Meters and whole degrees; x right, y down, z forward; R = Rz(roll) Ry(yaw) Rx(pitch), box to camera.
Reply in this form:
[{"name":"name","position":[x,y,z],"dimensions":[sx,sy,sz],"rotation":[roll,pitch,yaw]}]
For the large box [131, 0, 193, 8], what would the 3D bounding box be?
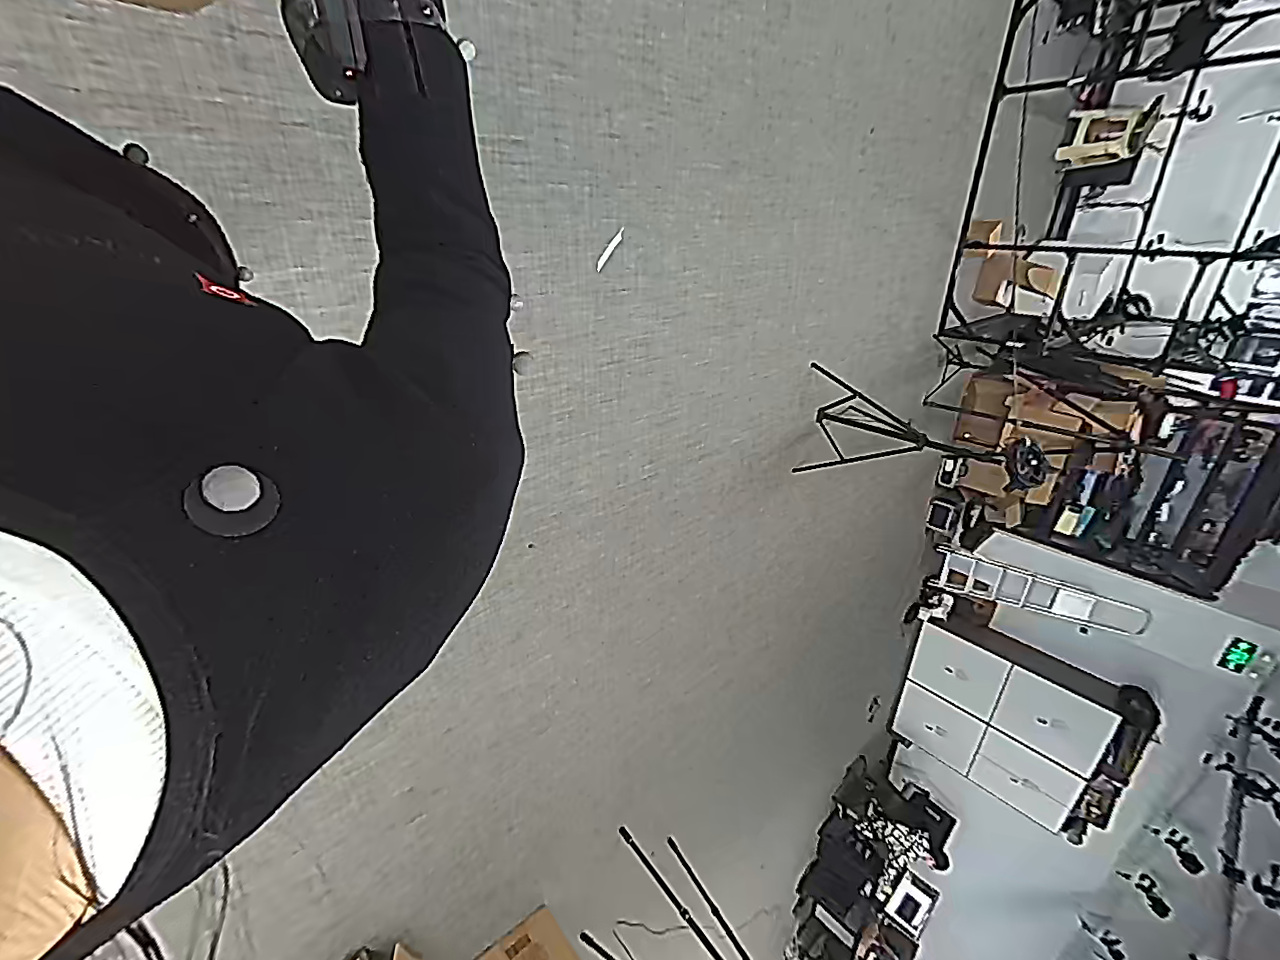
[{"name":"large box","position":[-0.446,-0.440,0.209],"dimensions":[0.408,0.320,0.320],"rotation":[-22,131,-39]}]
